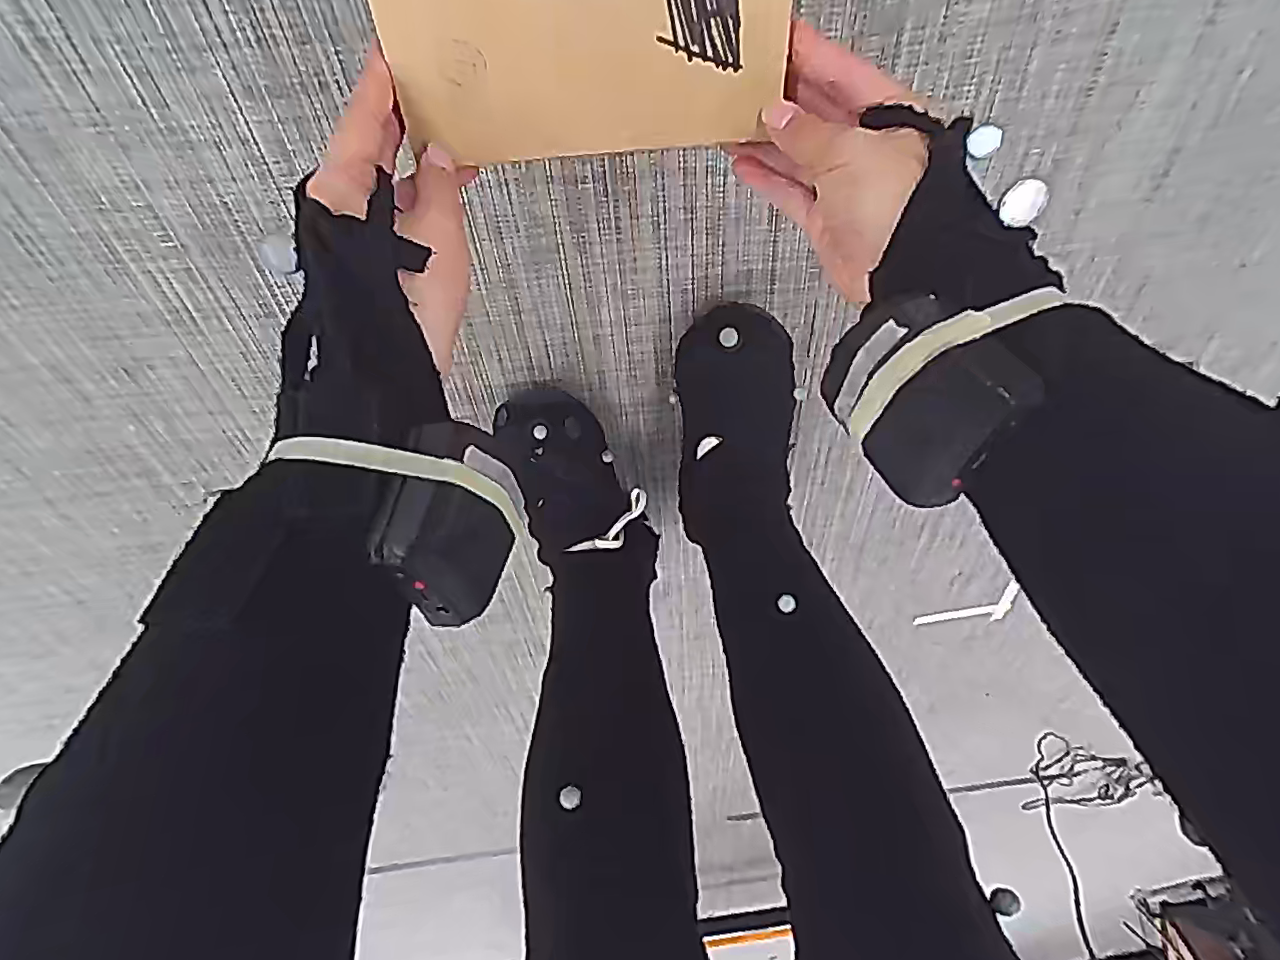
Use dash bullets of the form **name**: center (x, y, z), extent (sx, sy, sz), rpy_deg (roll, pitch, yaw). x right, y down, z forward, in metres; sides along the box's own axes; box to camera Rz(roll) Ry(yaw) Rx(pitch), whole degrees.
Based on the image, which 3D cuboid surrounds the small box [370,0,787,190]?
- **small box**: center (-0.032, -0.264, 0.274), extent (0.179, 0.176, 0.168), rpy_deg (-6, 131, -1)
